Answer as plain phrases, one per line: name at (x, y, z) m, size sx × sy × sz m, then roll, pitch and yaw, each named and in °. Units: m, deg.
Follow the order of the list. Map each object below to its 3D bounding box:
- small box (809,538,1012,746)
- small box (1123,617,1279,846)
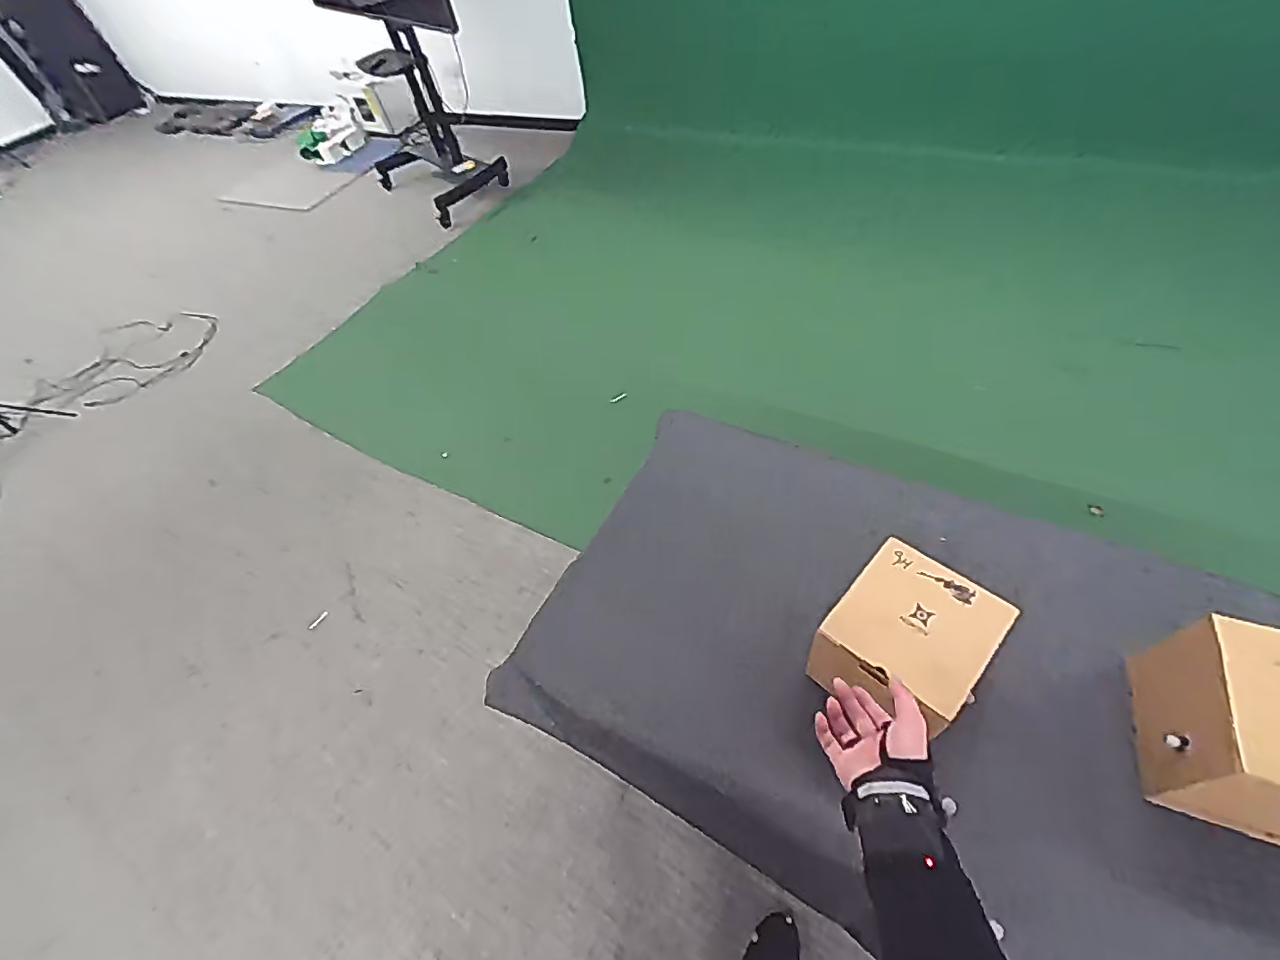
small box at (0.343, 0.218, 0.719) m, size 0.168 × 0.176 × 0.179 m, roll 36°, pitch 66°, yaw 30°
small box at (0.689, 0.287, 0.605) m, size 0.168 × 0.176 × 0.179 m, roll 14°, pitch 55°, yaw 19°
